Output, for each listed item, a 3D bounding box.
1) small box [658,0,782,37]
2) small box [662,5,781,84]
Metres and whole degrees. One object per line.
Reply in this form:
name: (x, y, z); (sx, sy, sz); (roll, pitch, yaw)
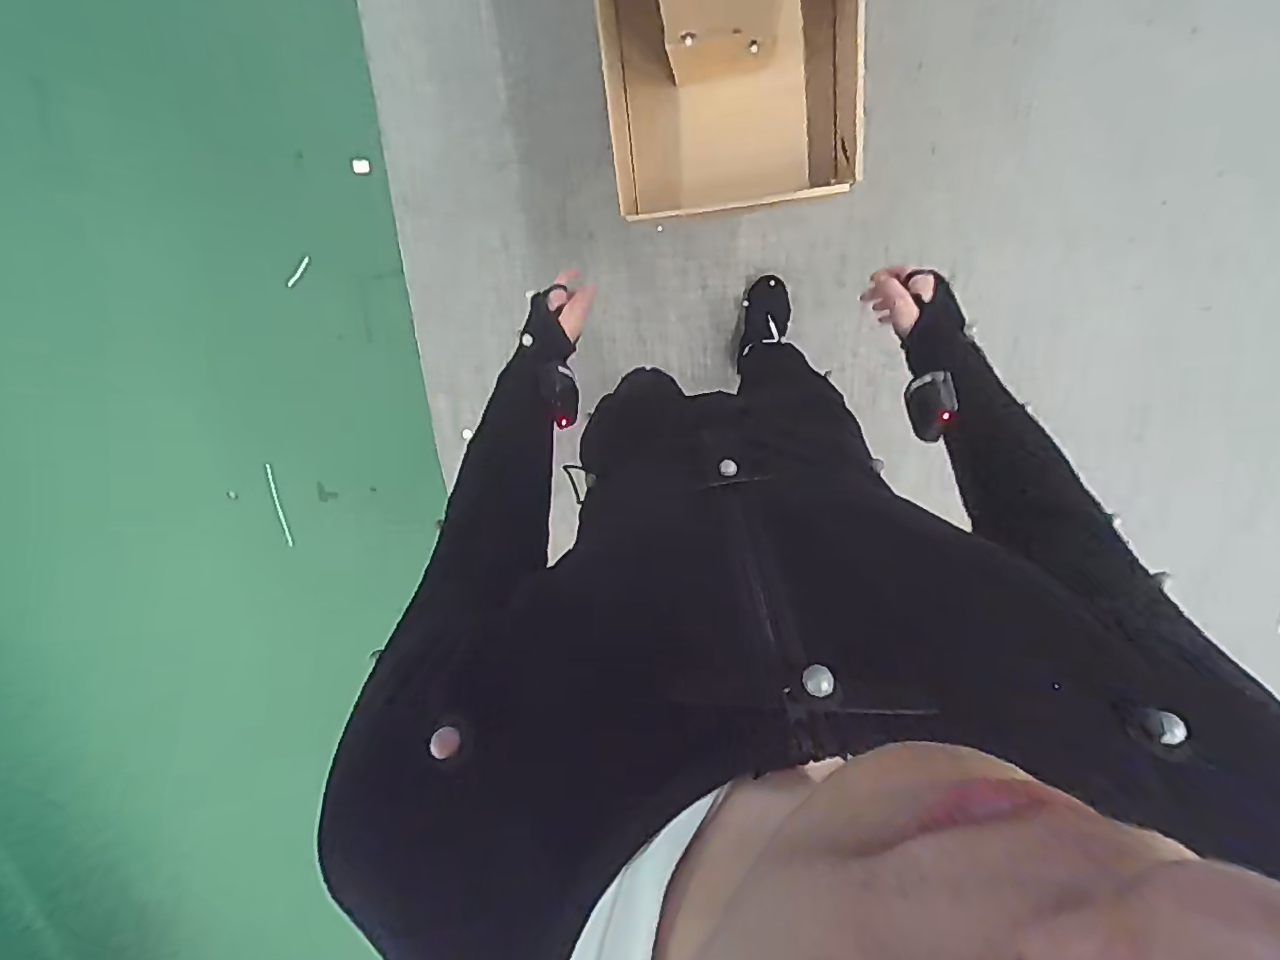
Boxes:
small box: (0.104, -0.712, 0.699); (0.168, 0.176, 0.179); (-1, 108, 8)
small box: (0.126, -0.760, 0.855); (0.179, 0.176, 0.168); (-3, 108, 9)
